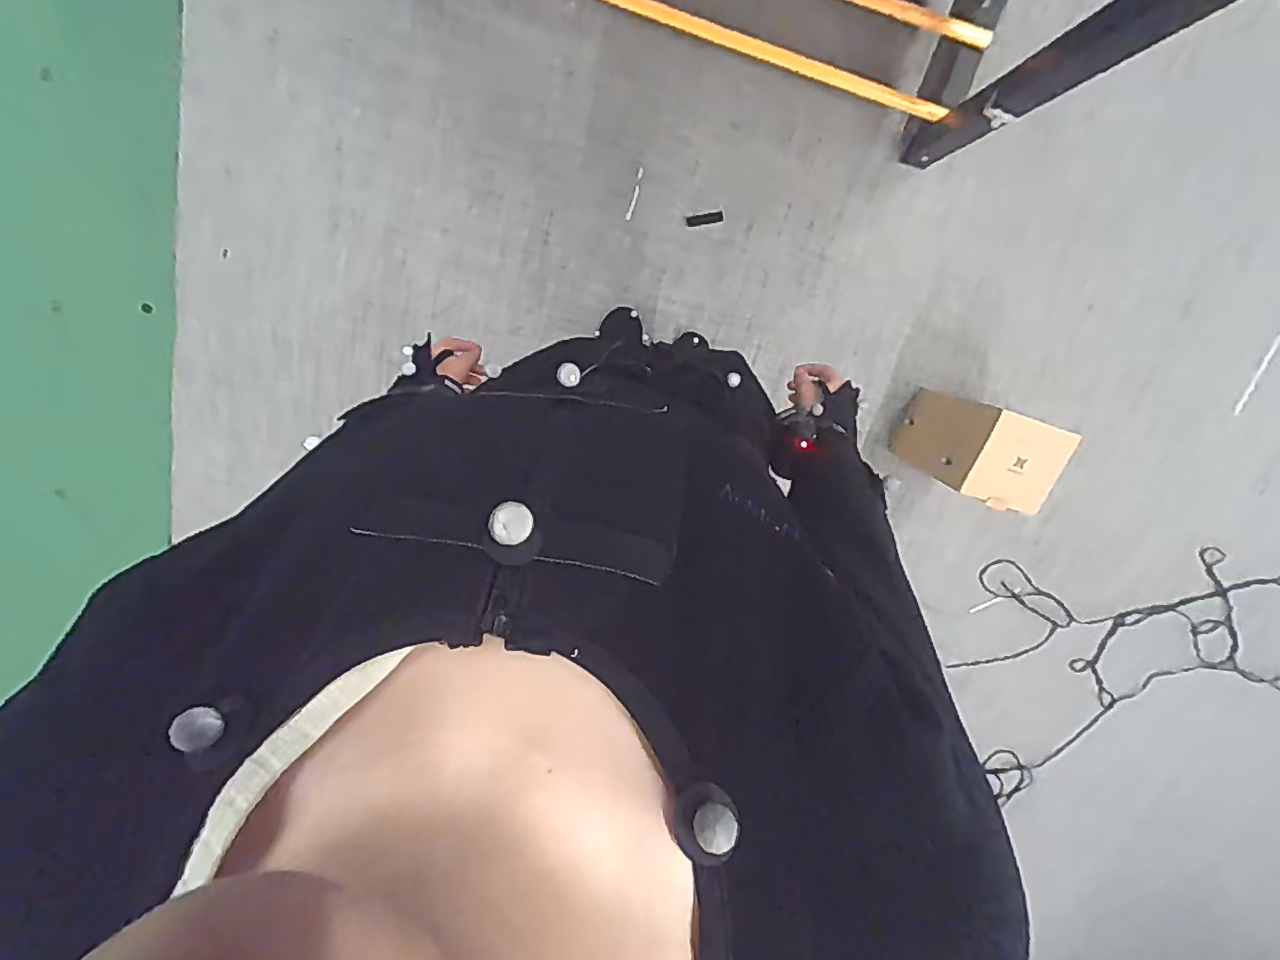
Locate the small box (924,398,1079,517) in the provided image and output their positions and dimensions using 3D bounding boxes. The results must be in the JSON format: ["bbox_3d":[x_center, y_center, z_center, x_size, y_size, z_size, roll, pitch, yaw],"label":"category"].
[{"bbox_3d":[0.714,-0.052,1.097,0.168,0.176,0.179,17,106,-5],"label":"small box"}]

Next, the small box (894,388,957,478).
[{"bbox_3d":[0.721,-0.097,1.253,0.168,0.176,0.179,19,108,-5],"label":"small box"}]
